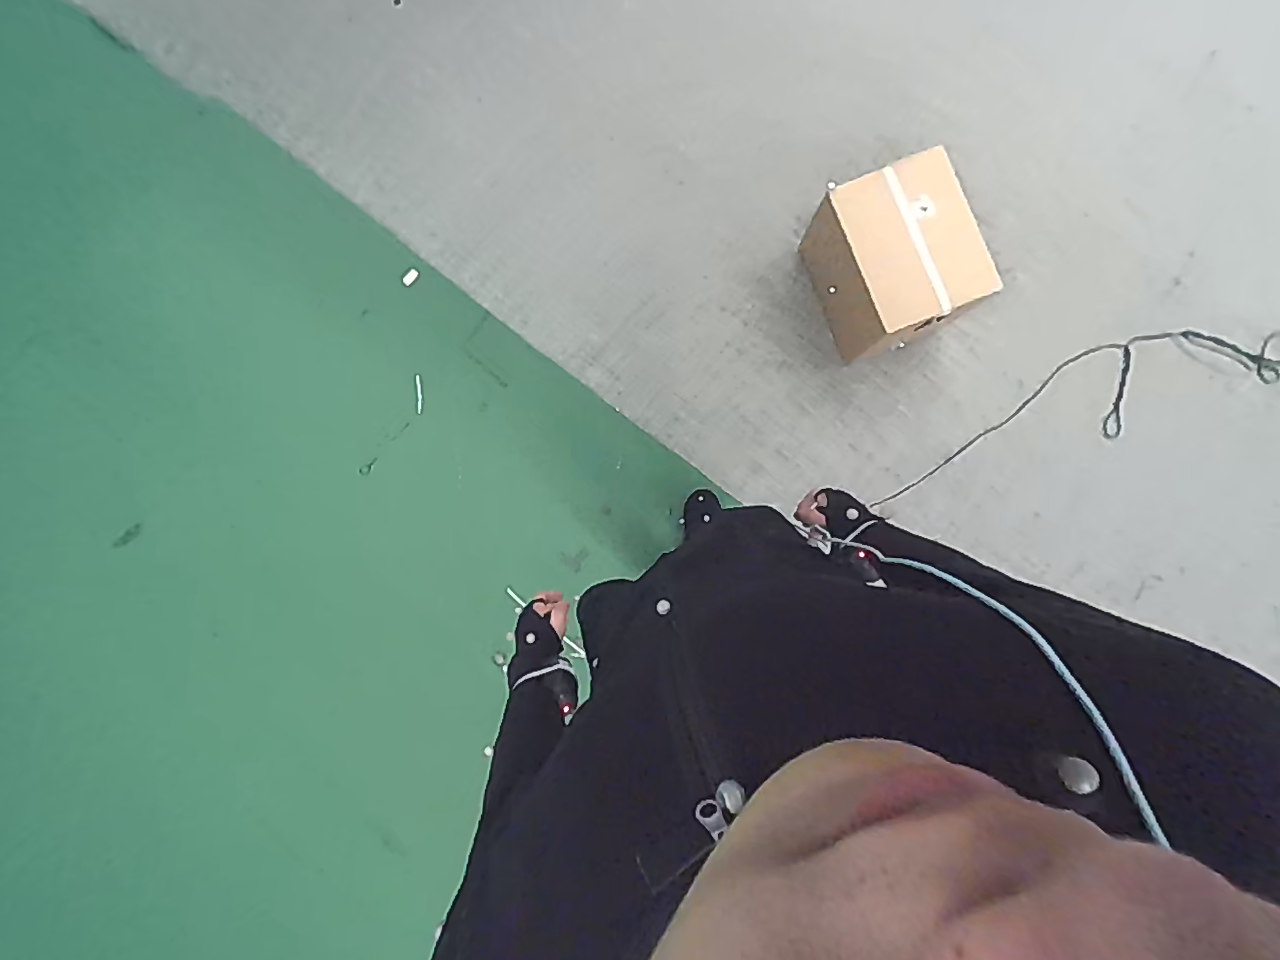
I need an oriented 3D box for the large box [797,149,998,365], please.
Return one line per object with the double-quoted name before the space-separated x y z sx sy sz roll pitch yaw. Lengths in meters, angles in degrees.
"large box" 0.684 -0.592 1.503 0.320 0.320 0.408 -21 85 1
